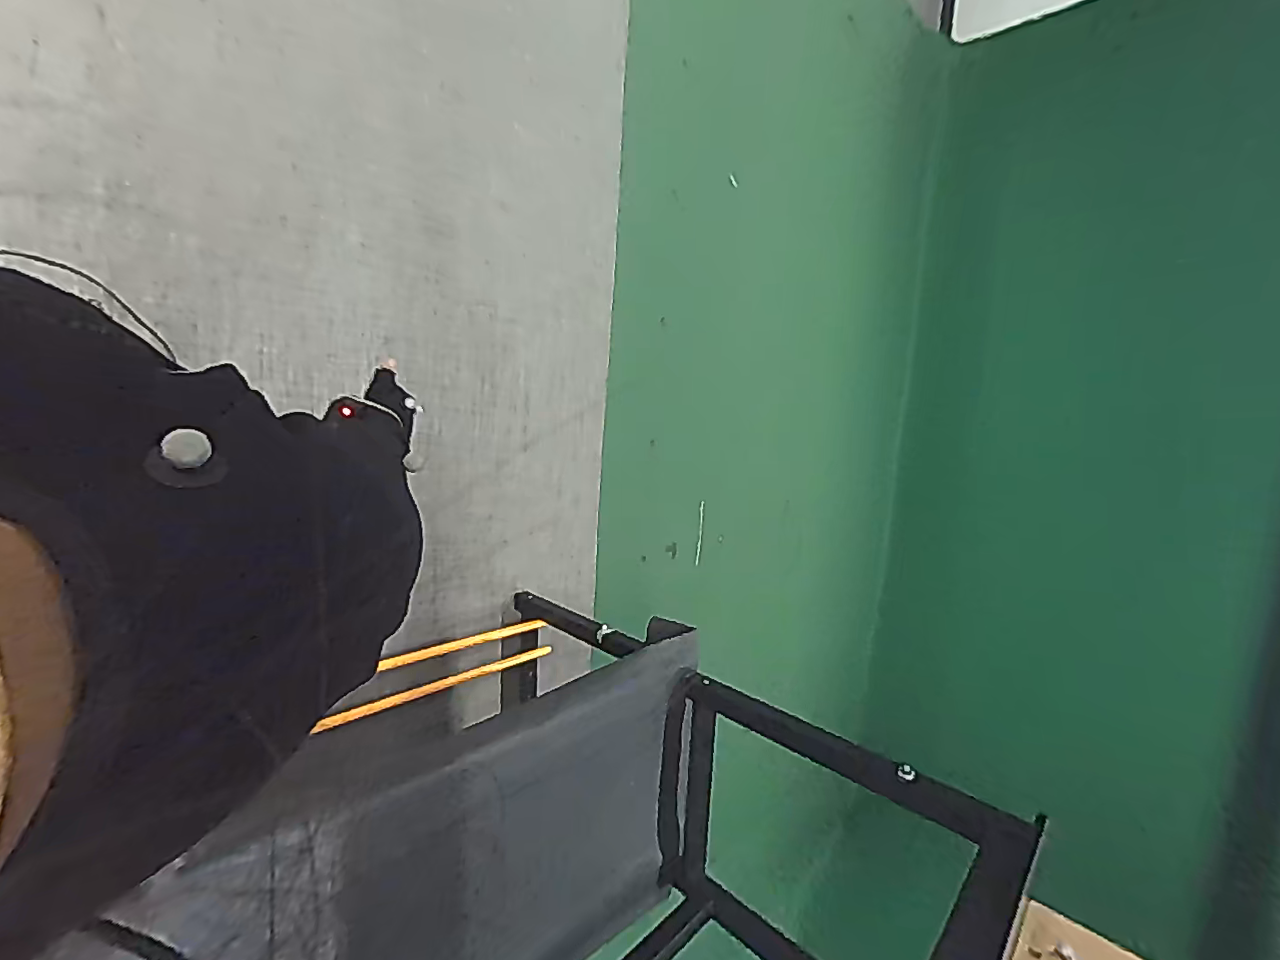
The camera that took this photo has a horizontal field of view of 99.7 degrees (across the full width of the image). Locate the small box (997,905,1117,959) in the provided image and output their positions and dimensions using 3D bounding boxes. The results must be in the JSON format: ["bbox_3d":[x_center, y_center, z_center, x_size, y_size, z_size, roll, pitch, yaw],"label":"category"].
[{"bbox_3d":[0.569,0.726,0.707,0.168,0.176,0.179,-3,98,-46],"label":"small box"}]
